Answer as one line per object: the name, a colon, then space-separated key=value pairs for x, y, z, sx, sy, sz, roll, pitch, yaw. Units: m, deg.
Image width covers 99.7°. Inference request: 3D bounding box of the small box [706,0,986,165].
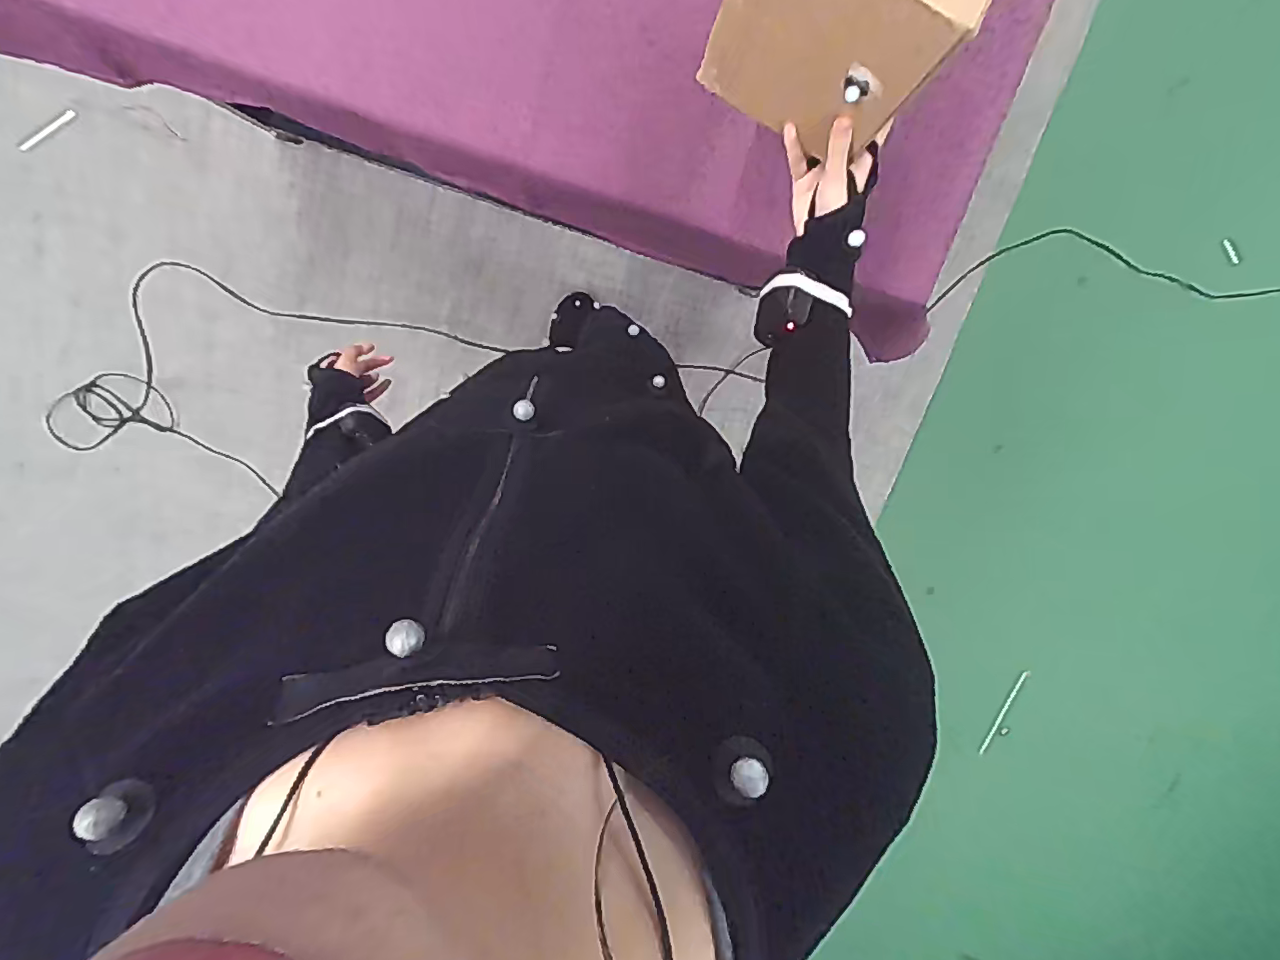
small box: x=0.171 y=-0.411 z=0.434 sx=0.176 sy=0.179 sz=0.168 roll=27 pitch=86 yaw=-7
